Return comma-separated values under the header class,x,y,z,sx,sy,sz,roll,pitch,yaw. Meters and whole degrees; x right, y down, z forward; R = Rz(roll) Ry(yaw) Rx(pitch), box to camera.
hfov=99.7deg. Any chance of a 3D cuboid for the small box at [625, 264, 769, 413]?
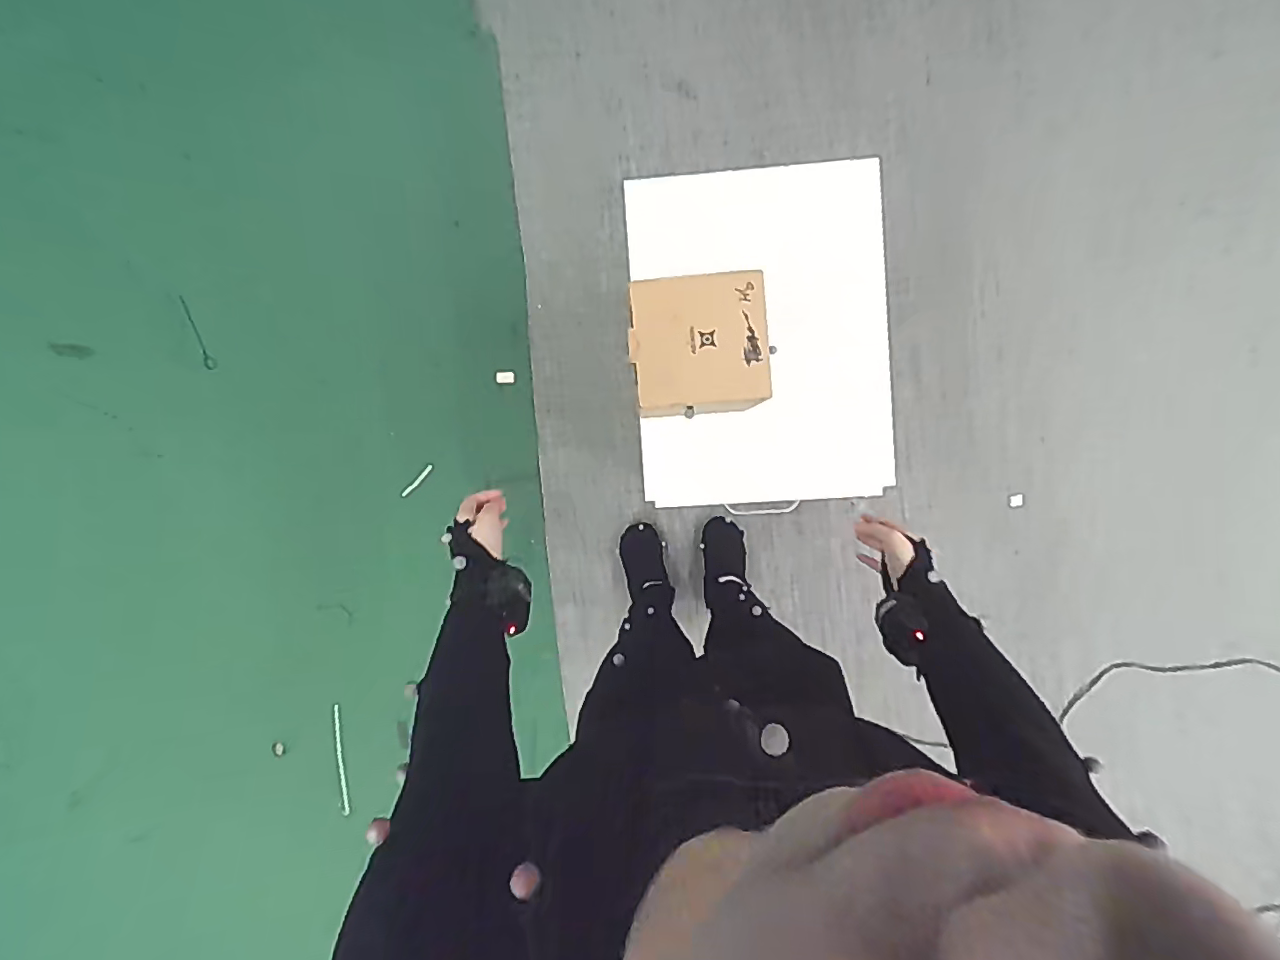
class,x,y,z,sx,sy,sz,roll,pitch,yaw
small box,0.077,-0.189,0.768,0.179,0.176,0.168,-5,93,2
